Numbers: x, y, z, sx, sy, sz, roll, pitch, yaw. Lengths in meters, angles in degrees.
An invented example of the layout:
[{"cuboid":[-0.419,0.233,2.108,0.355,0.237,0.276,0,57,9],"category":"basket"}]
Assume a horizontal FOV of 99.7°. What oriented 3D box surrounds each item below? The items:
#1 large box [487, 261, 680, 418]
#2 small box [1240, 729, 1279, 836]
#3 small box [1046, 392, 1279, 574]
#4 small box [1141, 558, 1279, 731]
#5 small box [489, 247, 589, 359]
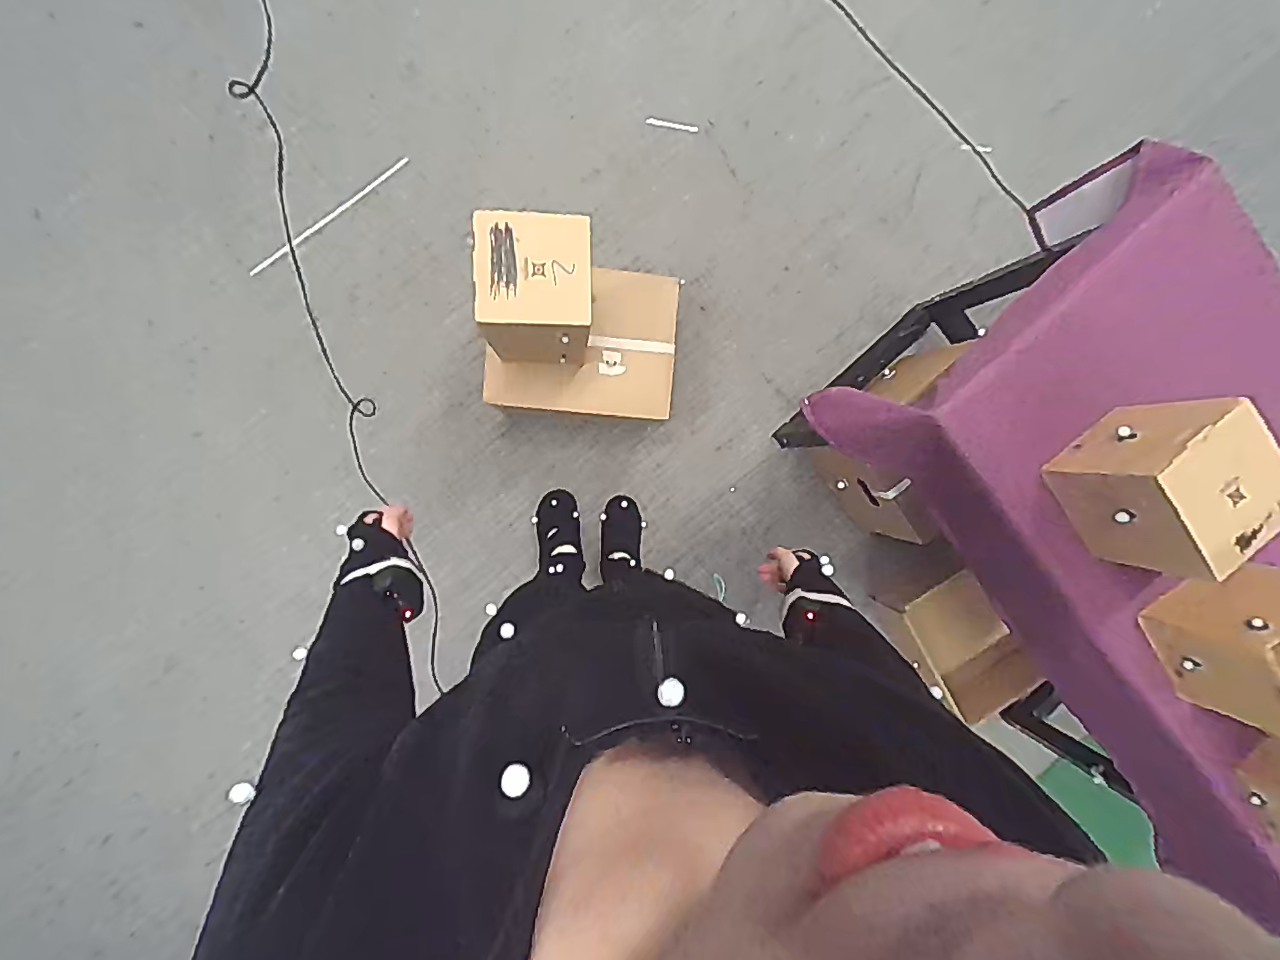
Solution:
[{"cuboid":[-0.140,-0.321,1.301,0.408,0.320,0.320,4,94,-8],"category":"large box"},{"cuboid":[1.101,0.492,0.833,0.179,0.176,0.168,-38,97,-4],"category":"small box"},{"cuboid":[0.731,0.001,0.758,0.168,0.176,0.179,-37,96,-3],"category":"small box"},{"cuboid":[0.914,0.233,0.797,0.179,0.176,0.168,-33,97,-3],"category":"small box"},{"cuboid":[-0.191,-0.333,1.046,0.179,0.176,0.168,0,92,-7],"category":"small box"}]
